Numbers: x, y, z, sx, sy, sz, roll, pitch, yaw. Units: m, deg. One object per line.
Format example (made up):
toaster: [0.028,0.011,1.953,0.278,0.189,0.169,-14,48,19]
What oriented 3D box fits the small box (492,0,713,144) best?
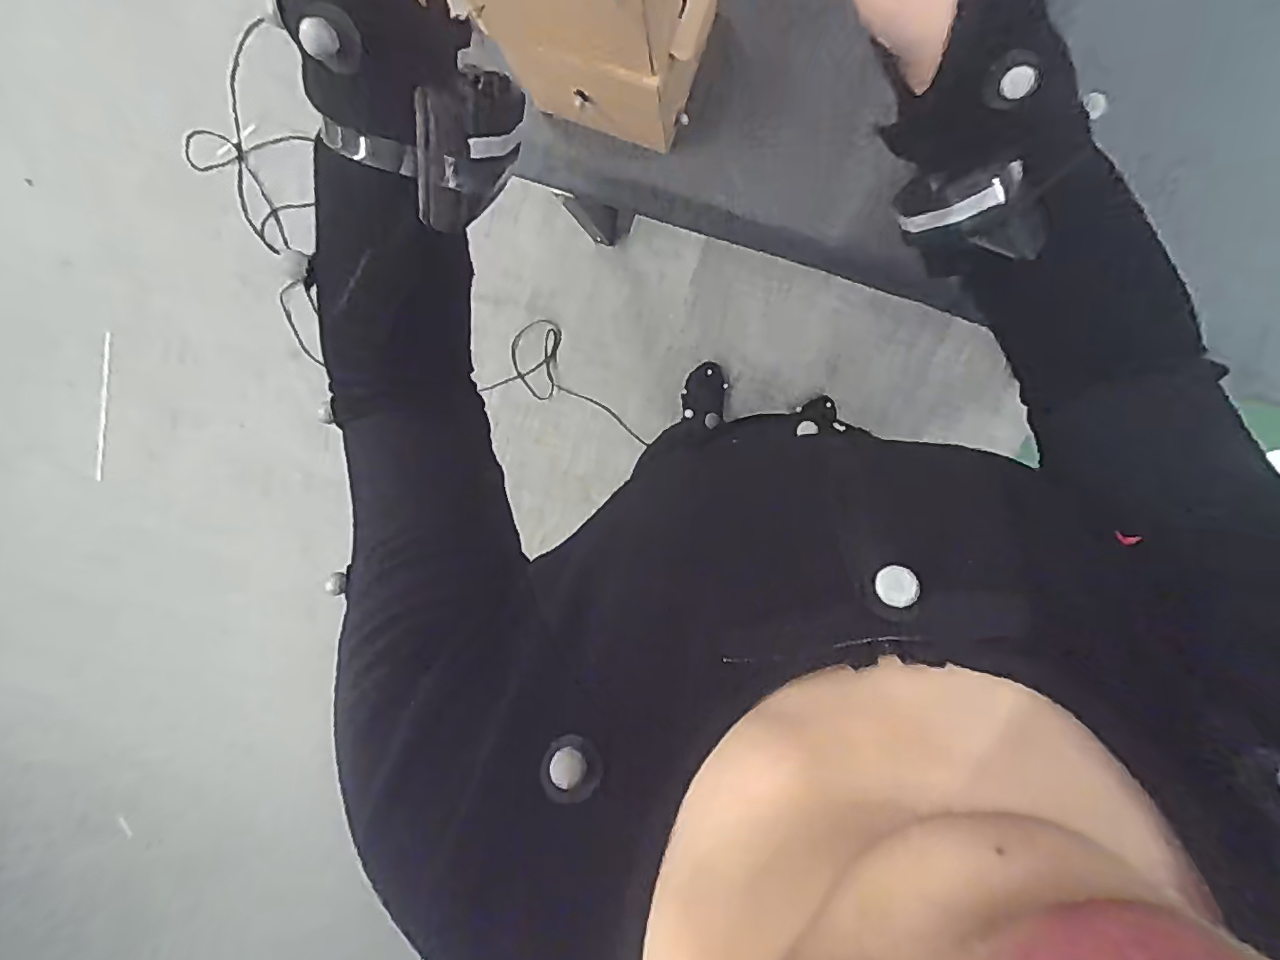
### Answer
small box: [-0.027,-0.491,0.575,0.179,0.176,0.168,20,104,2]

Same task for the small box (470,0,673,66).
small box: [-0.058,-0.465,0.417,0.179,0.176,0.168,16,104,3]
